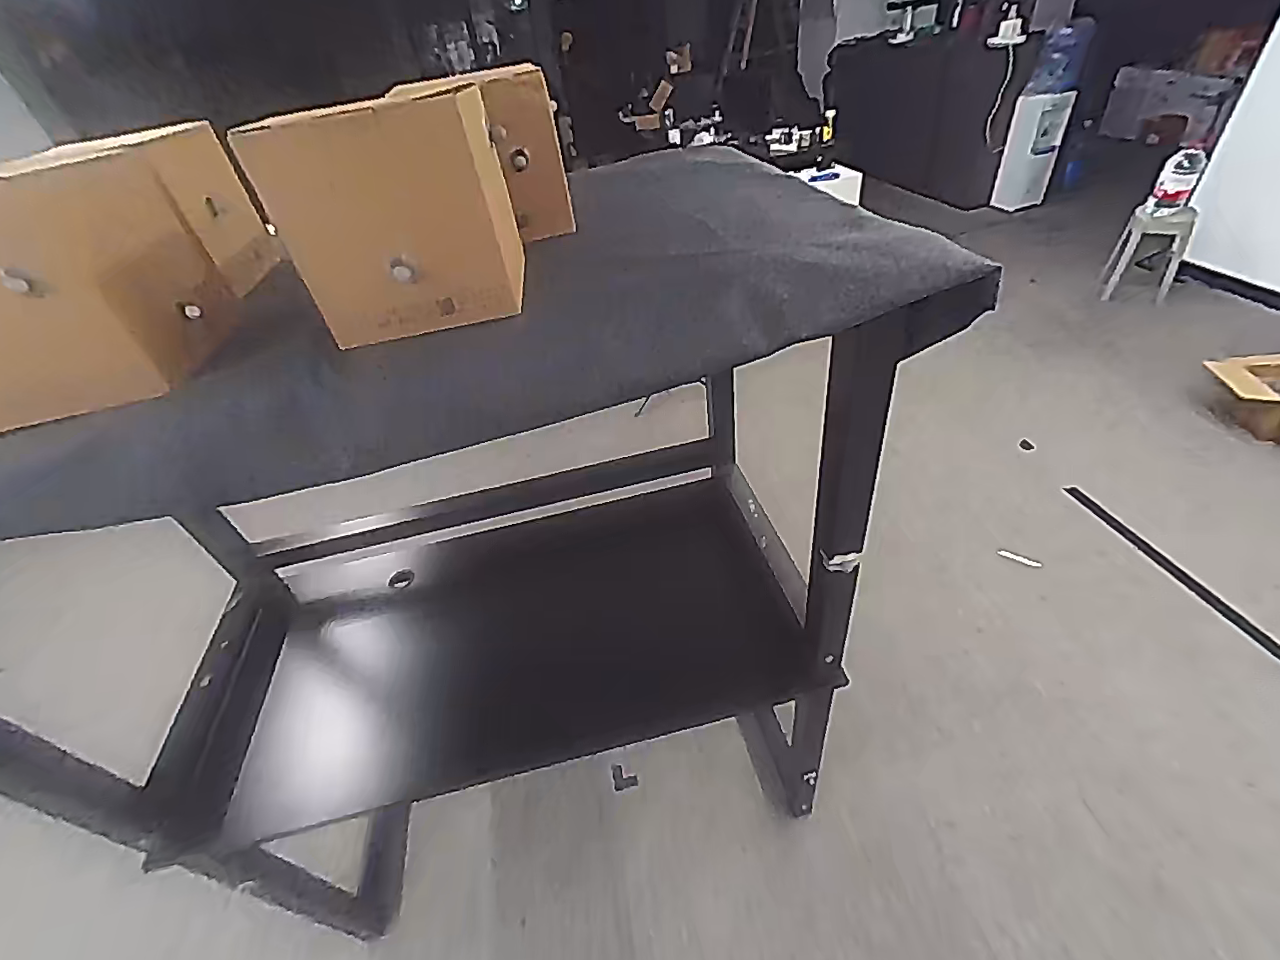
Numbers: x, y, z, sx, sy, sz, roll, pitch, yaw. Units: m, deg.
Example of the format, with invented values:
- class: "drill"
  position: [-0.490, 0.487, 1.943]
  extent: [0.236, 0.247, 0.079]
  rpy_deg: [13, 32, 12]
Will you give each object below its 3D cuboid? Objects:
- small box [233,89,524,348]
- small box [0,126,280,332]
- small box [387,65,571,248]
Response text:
- class: "small box"
  position: [-0.211, -0.243, 0.499]
  extent: [0.168, 0.176, 0.179]
  rpy_deg: [-12, 39, -1]
- class: "small box"
  position: [-0.578, -0.298, 0.644]
  extent: [0.179, 0.176, 0.168]
  rpy_deg: [-13, 41, -3]
- class: "small box"
  position: [-0.188, -0.391, 0.669]
  extent: [0.168, 0.176, 0.179]
  rpy_deg: [-14, 41, -6]
